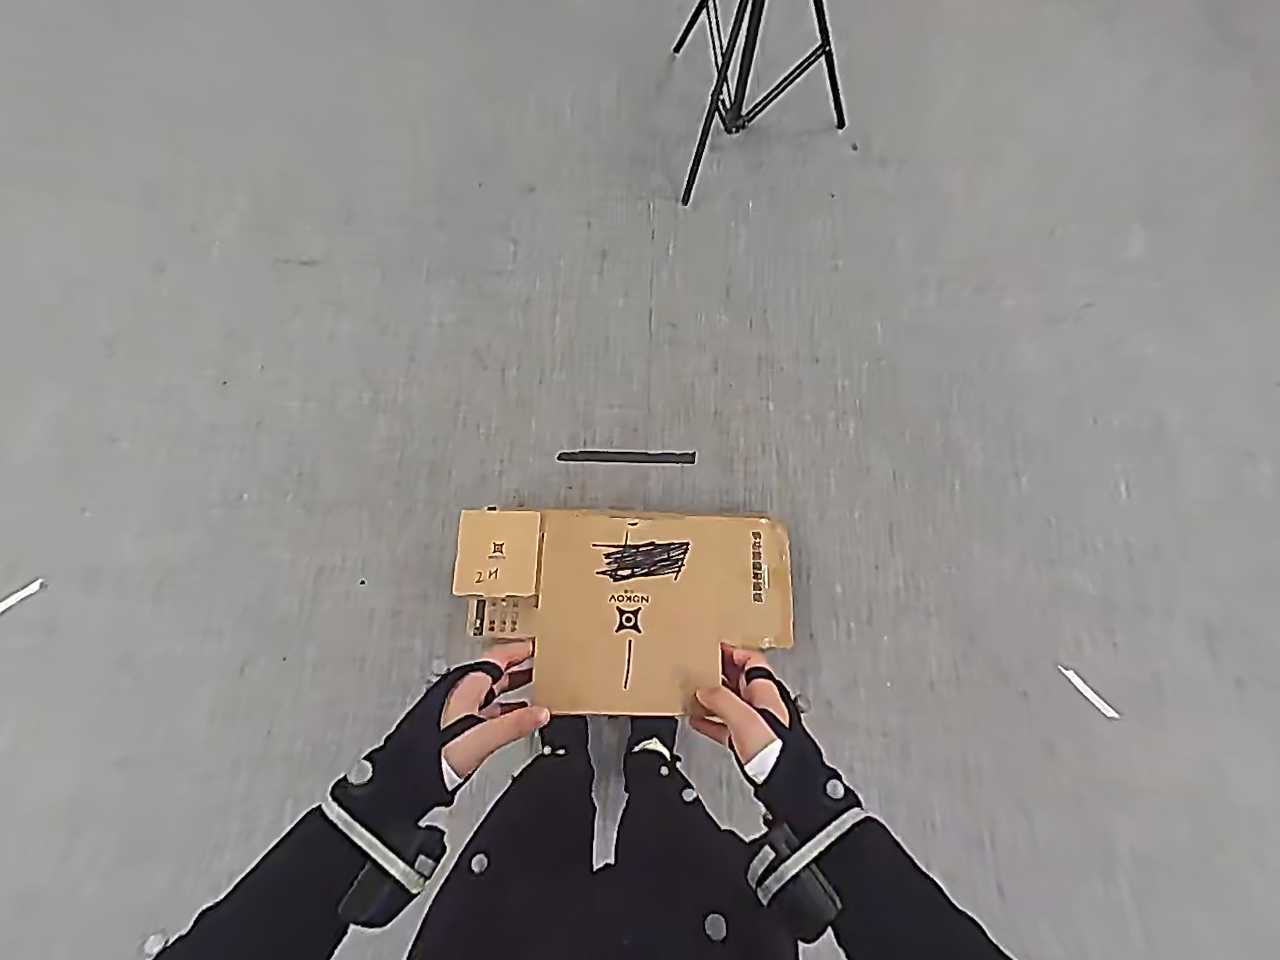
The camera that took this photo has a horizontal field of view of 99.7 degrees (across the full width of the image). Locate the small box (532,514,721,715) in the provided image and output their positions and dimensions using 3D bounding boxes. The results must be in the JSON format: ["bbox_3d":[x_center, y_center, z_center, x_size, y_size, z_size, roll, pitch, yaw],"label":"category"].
[{"bbox_3d":[-0.017,0.147,0.564,0.168,0.176,0.179,3,68,-4],"label":"small box"}]

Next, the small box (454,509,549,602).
[{"bbox_3d":[-0.288,0.168,1.173,0.168,0.176,0.179,2,75,-1],"label":"small box"}]
